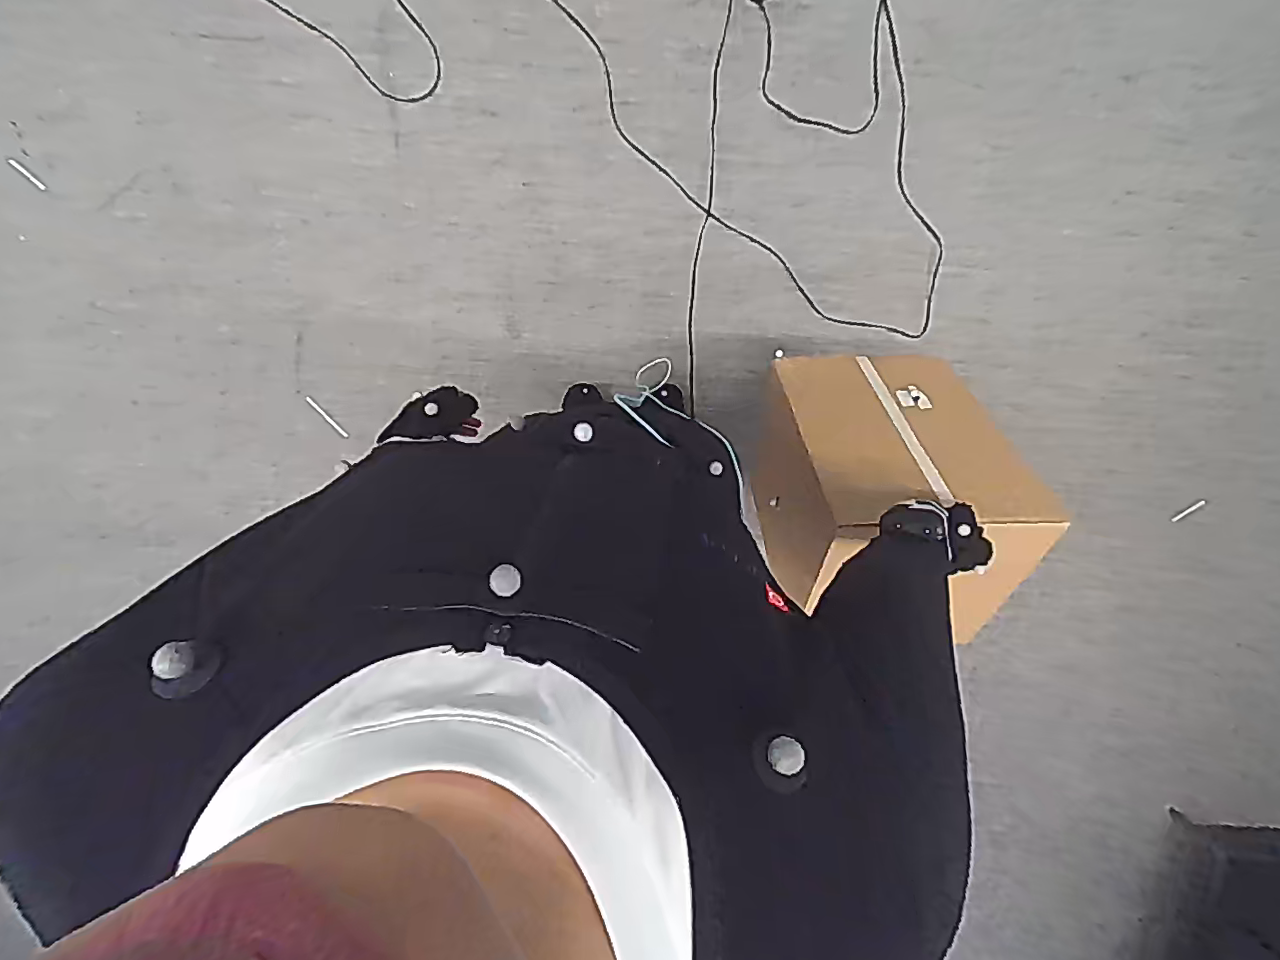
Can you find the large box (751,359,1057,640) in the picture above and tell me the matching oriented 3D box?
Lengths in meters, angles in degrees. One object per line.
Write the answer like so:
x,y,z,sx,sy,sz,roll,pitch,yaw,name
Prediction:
0.401,0.027,0.960,0.320,0.408,0.320,0,134,-2,large box
